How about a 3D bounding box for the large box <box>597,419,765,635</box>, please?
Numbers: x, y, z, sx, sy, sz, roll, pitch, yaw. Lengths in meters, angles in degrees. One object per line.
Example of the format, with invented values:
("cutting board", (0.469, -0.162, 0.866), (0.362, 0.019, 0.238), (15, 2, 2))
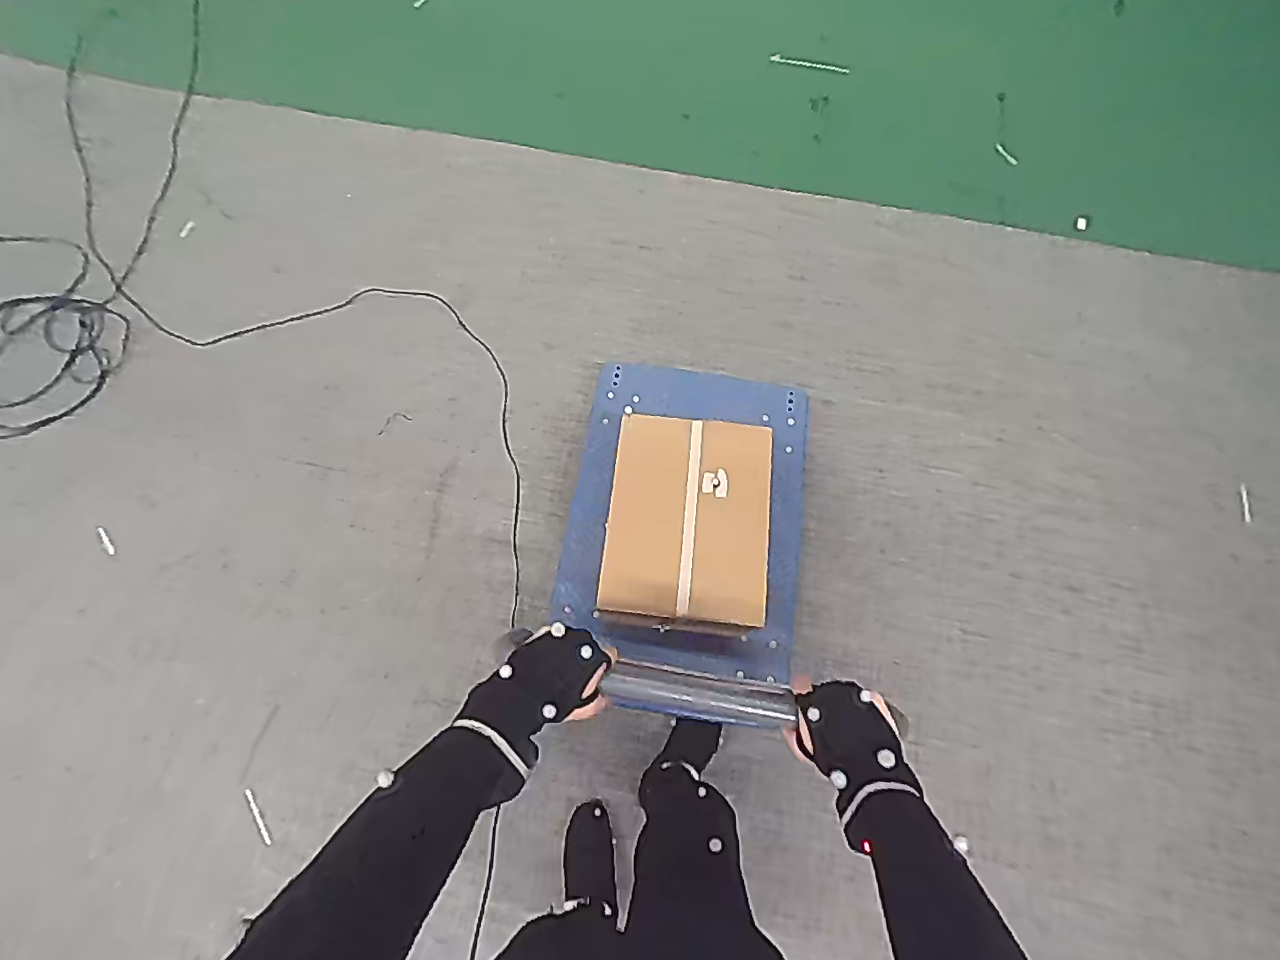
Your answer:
("large box", (0.090, 0.121, 1.203), (0.320, 0.320, 0.408), (6, 71, 1))
